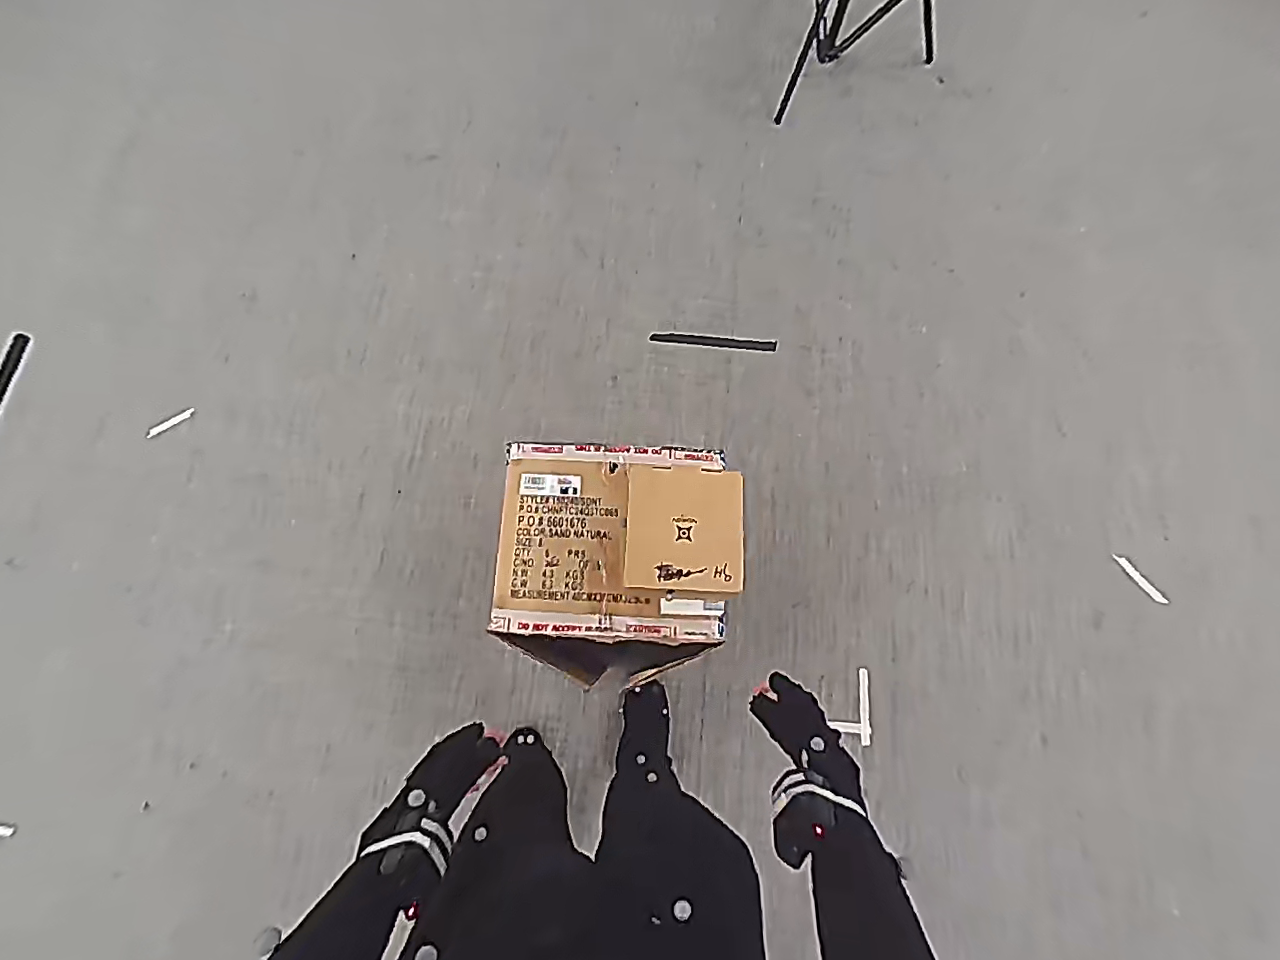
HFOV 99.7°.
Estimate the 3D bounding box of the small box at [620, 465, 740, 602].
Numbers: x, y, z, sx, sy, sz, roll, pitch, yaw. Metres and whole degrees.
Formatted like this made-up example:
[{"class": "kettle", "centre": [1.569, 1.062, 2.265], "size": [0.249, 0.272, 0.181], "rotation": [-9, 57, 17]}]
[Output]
[{"class": "small box", "centre": [0.056, 0.089, 0.835], "size": [0.168, 0.176, 0.179], "rotation": [3, 73, -1]}]
